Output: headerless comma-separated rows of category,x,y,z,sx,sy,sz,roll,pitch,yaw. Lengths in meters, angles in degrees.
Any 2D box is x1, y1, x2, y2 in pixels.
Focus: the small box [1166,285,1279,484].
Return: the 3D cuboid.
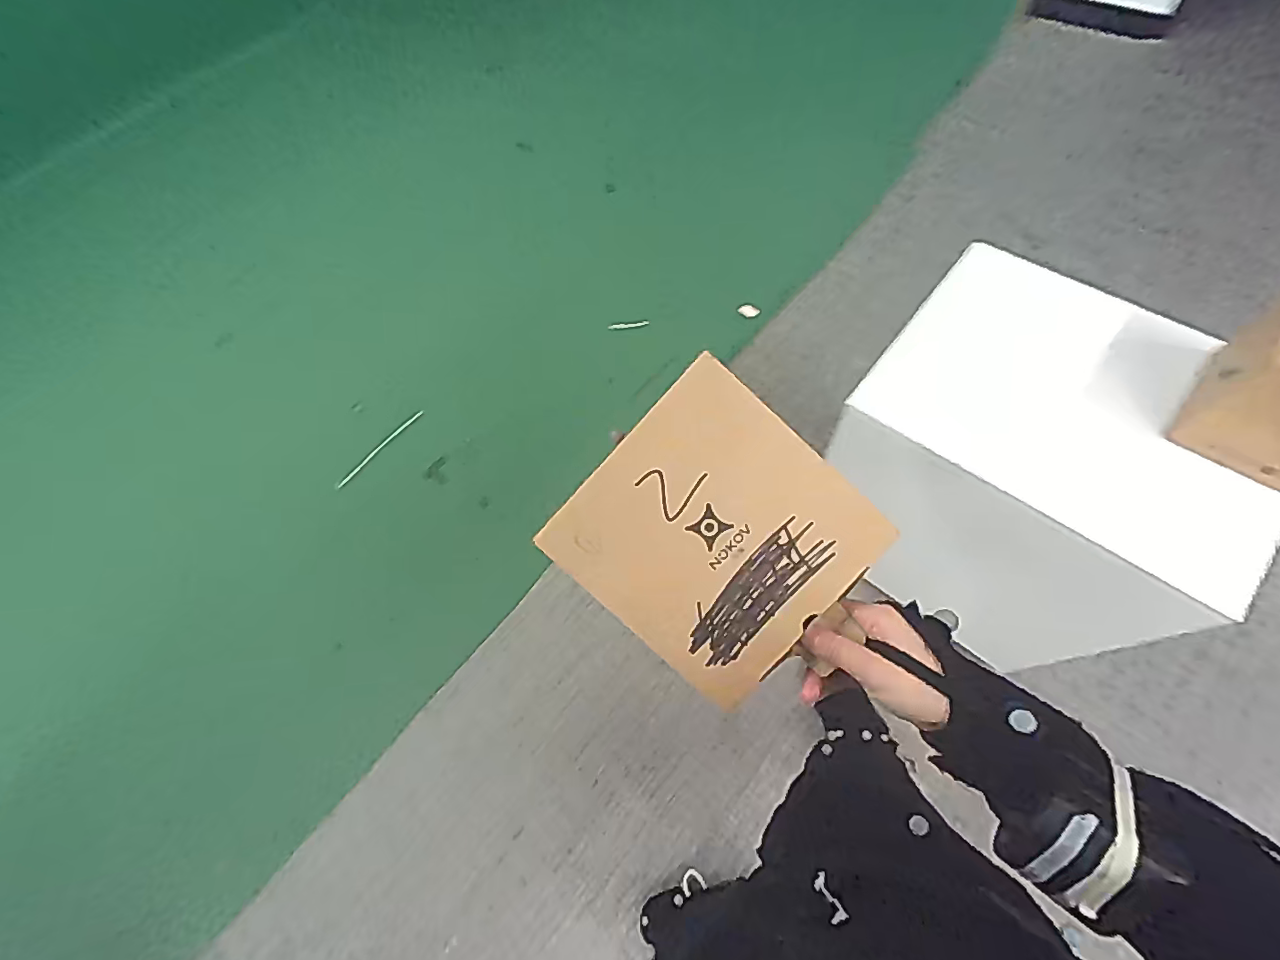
small box,0.797,-0.119,0.645,0.168,0.176,0.179,36,73,20
